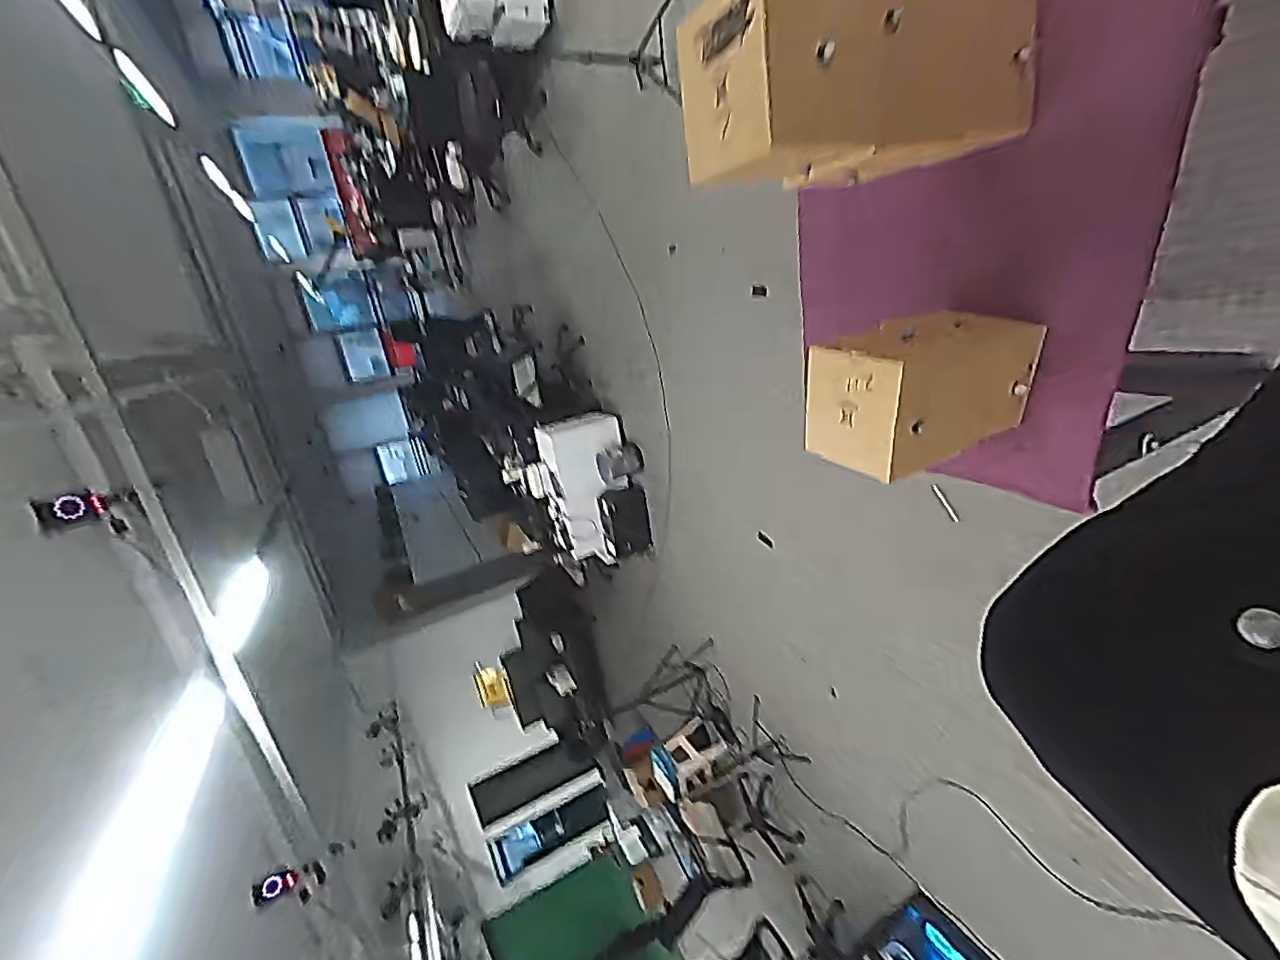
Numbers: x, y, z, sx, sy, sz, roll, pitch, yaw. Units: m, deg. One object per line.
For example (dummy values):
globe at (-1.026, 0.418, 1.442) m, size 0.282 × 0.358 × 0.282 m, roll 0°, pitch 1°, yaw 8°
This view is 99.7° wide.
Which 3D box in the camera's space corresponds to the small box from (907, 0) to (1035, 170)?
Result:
small box at (0.439, -0.567, 0.788) m, size 0.168 × 0.176 × 0.179 m, roll 26°, pitch 128°, yaw 62°

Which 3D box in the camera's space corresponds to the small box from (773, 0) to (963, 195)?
small box at (0.302, -0.503, 0.723) m, size 0.168 × 0.176 × 0.179 m, roll 25°, pitch 128°, yaw 62°

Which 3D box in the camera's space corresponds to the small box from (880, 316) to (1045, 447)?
small box at (0.515, -0.170, 0.896) m, size 0.179 × 0.176 × 0.168 m, roll 38°, pitch 139°, yaw 52°

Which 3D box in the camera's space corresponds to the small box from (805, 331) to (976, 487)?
small box at (0.376, -0.116, 0.825) m, size 0.168 × 0.176 × 0.179 m, roll 36°, pitch 137°, yaw 54°
